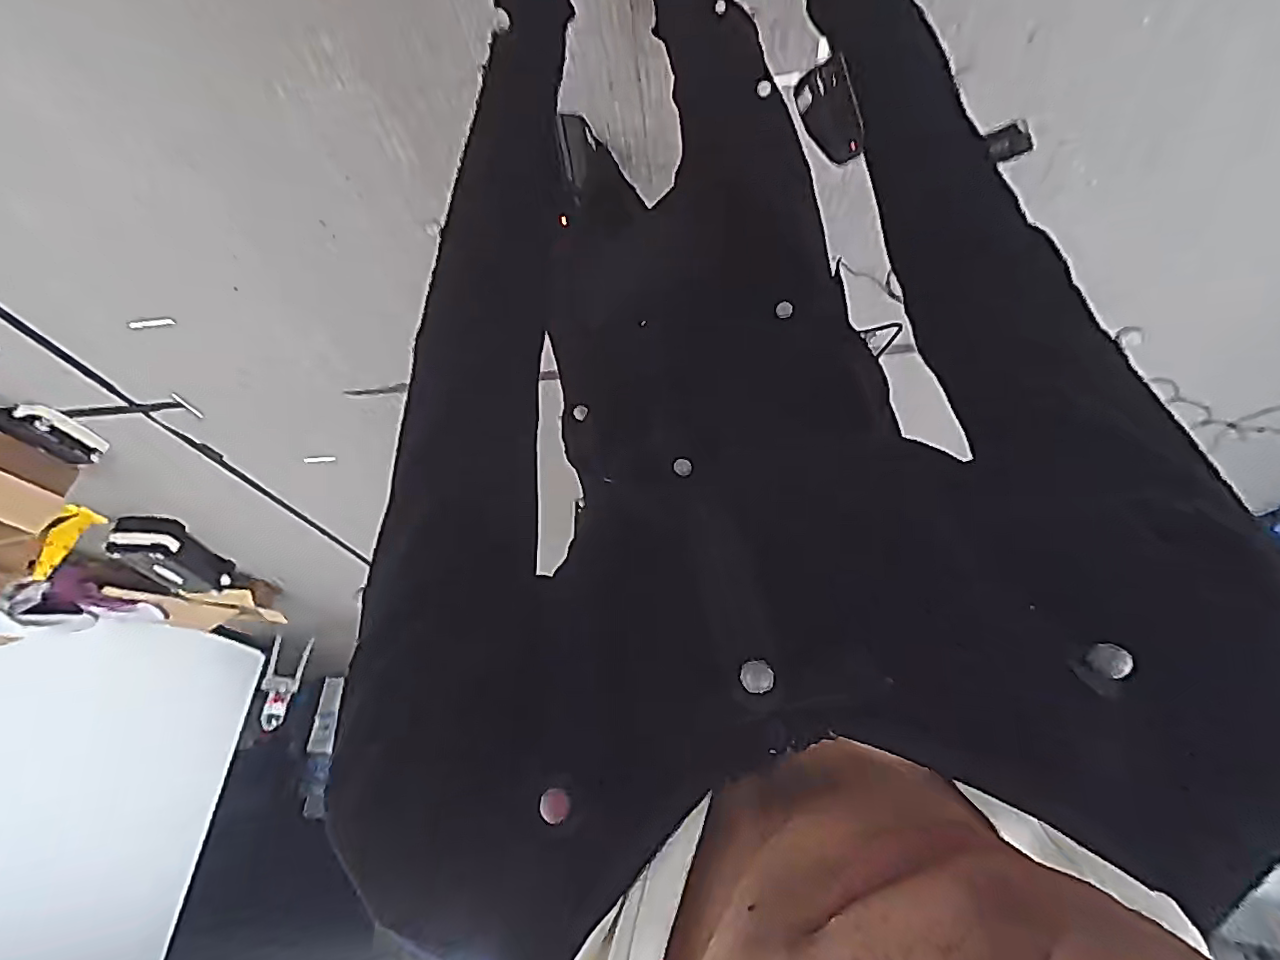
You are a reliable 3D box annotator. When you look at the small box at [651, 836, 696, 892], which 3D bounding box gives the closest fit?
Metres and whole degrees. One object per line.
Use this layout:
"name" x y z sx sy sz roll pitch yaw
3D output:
"small box" 0.137 1.557 2.195 0.168 0.176 0.179 -5 150 7
